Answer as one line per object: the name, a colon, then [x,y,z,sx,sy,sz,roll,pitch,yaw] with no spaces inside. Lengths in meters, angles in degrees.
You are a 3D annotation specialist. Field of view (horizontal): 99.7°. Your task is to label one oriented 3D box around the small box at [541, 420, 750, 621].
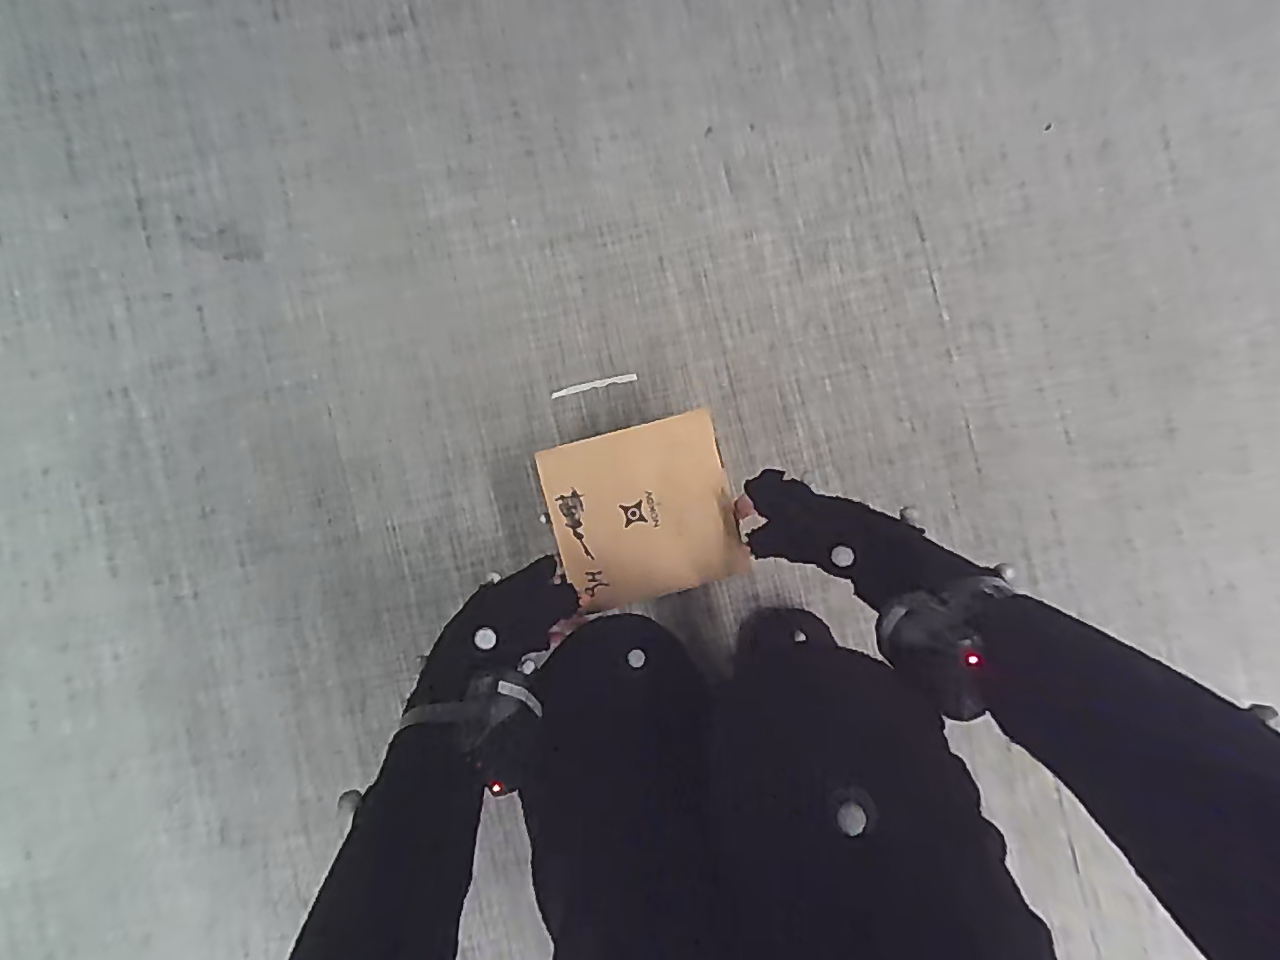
small box: [0.003,0.039,0.602,0.179,0.176,0.168,-14,89,-1]
